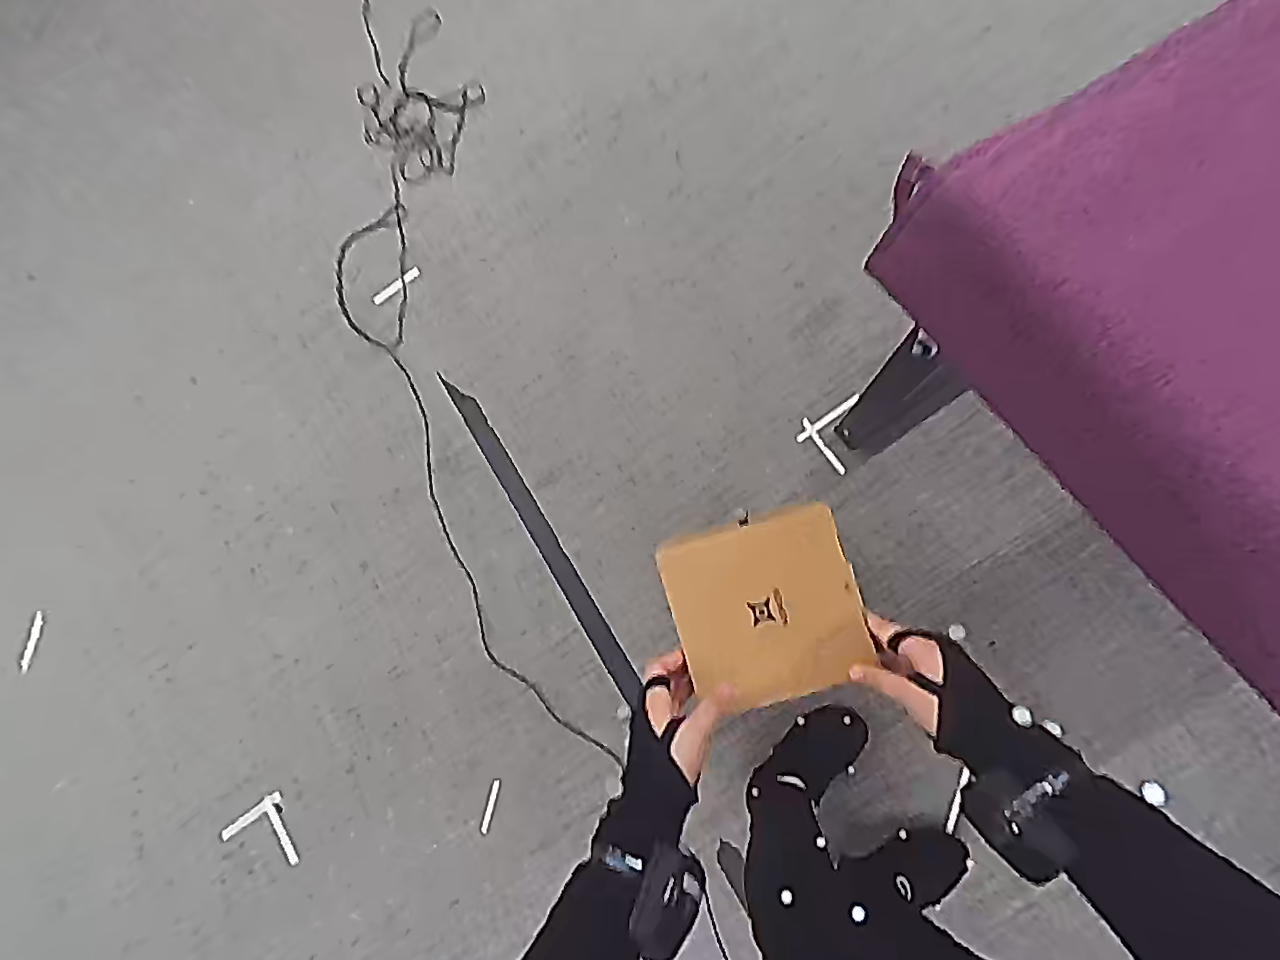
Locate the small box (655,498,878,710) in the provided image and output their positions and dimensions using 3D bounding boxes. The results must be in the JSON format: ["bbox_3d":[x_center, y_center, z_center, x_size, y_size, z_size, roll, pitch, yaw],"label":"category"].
[{"bbox_3d":[0.125,0.125,0.597,0.179,0.176,0.168,-17,85,2],"label":"small box"}]
